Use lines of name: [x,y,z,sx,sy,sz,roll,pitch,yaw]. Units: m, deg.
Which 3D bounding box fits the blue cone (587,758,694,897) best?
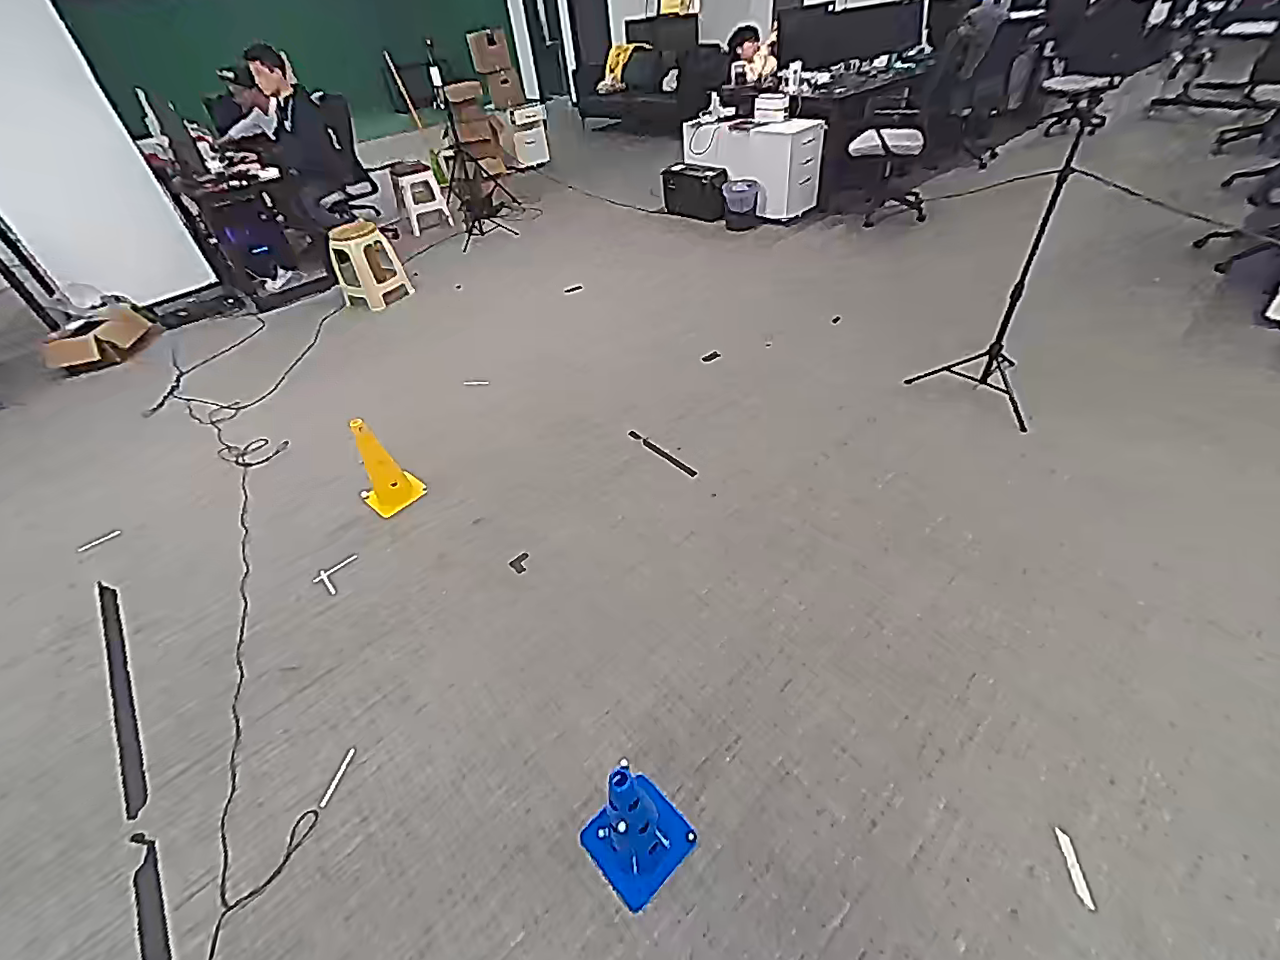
blue cone: [-0.017,0.663,1.094,0.192,0.380,0.193,-33,48,-27]
